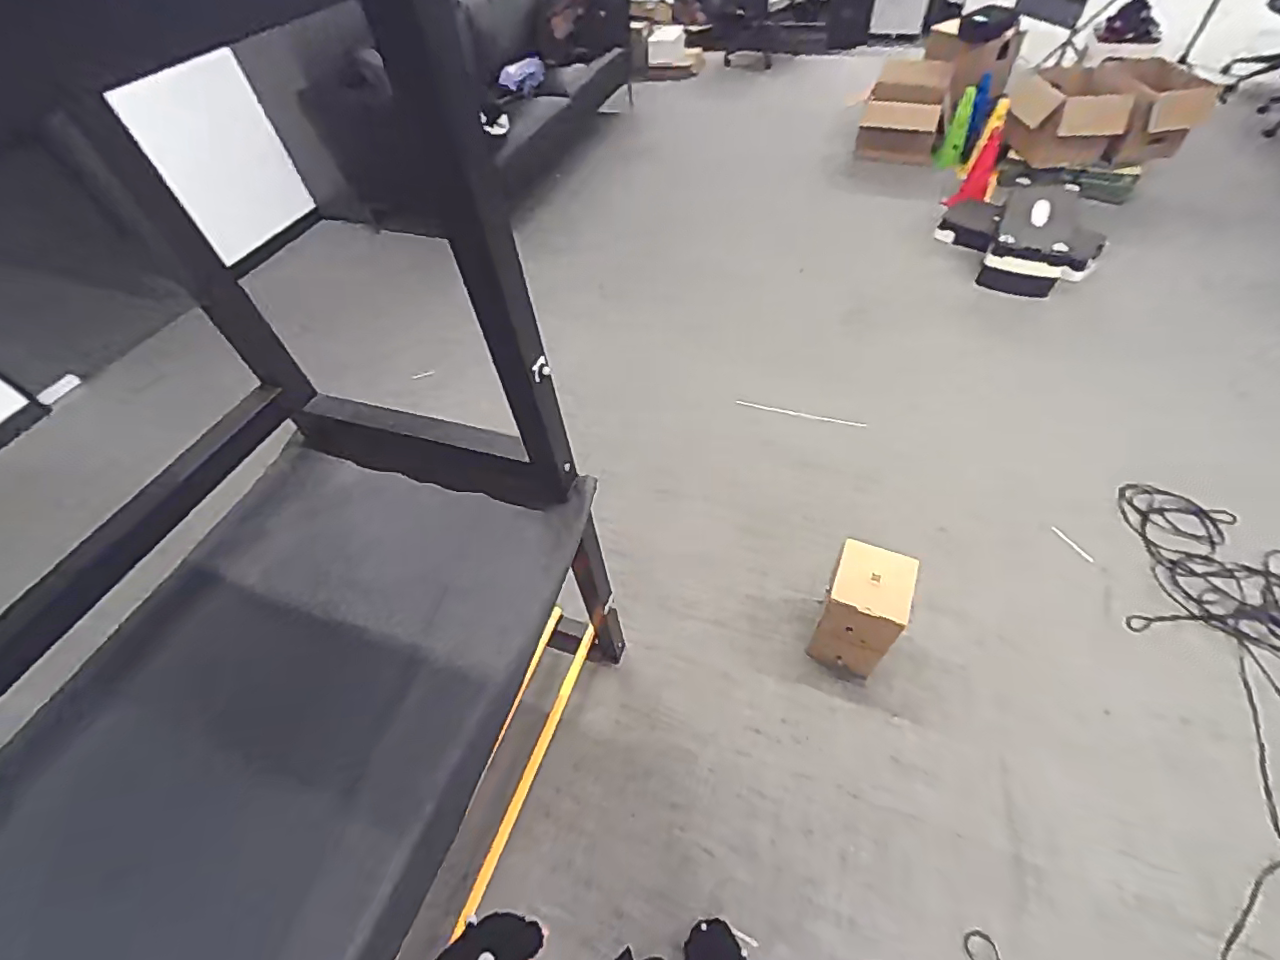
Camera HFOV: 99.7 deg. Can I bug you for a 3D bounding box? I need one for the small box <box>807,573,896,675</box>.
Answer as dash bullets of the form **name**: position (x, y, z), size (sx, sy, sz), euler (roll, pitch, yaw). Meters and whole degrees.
- **small box**: position (0.550, 0.380, 1.419), size (0.168, 0.176, 0.179), euler (18, 57, 20)
